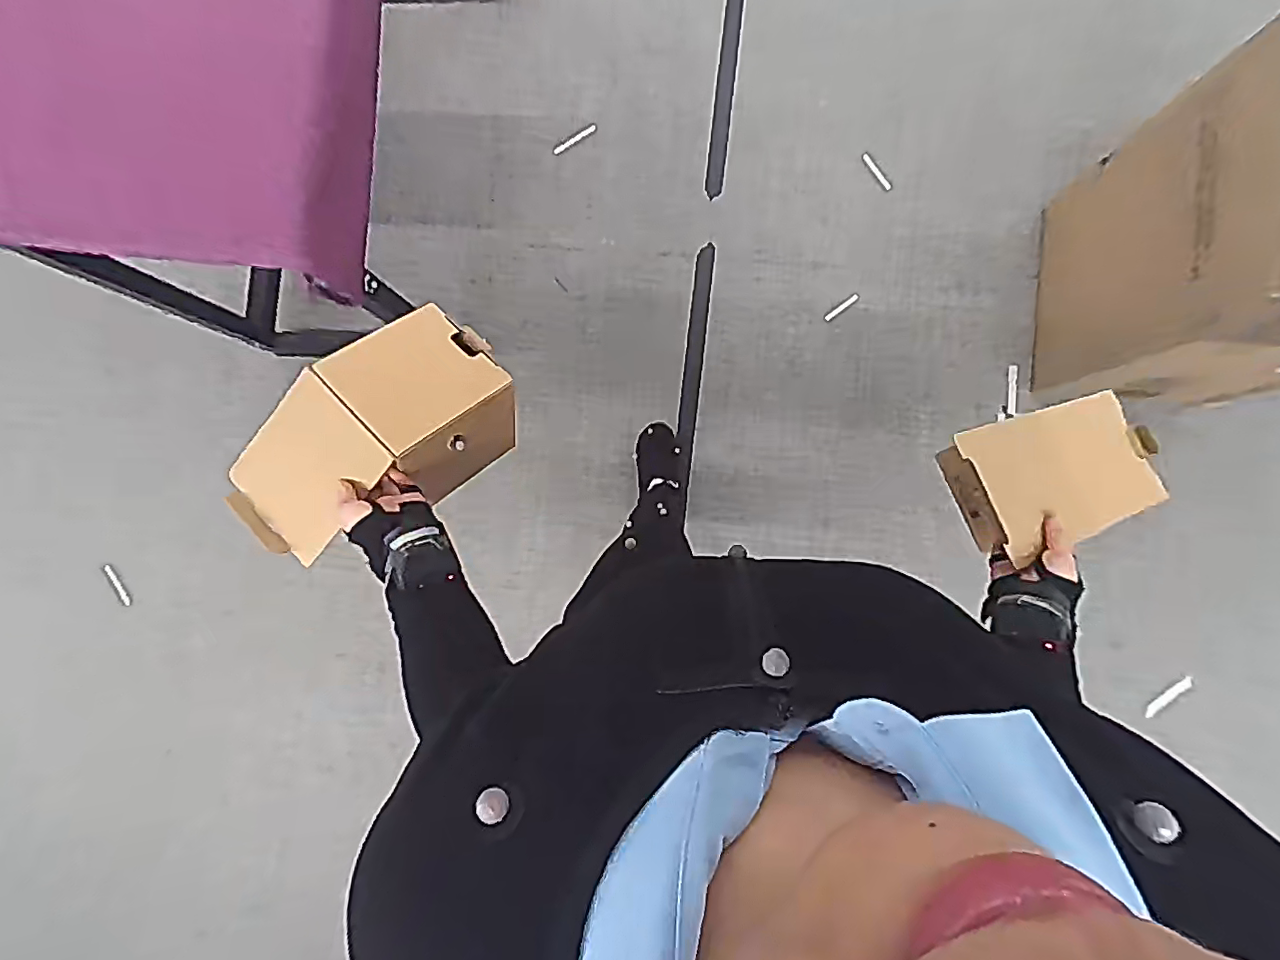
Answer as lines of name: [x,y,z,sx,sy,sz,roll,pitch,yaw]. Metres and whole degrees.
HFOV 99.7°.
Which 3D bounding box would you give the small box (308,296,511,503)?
small box: [-0.287,-0.099,0.717,0.168,0.176,0.179,44,62,10]
